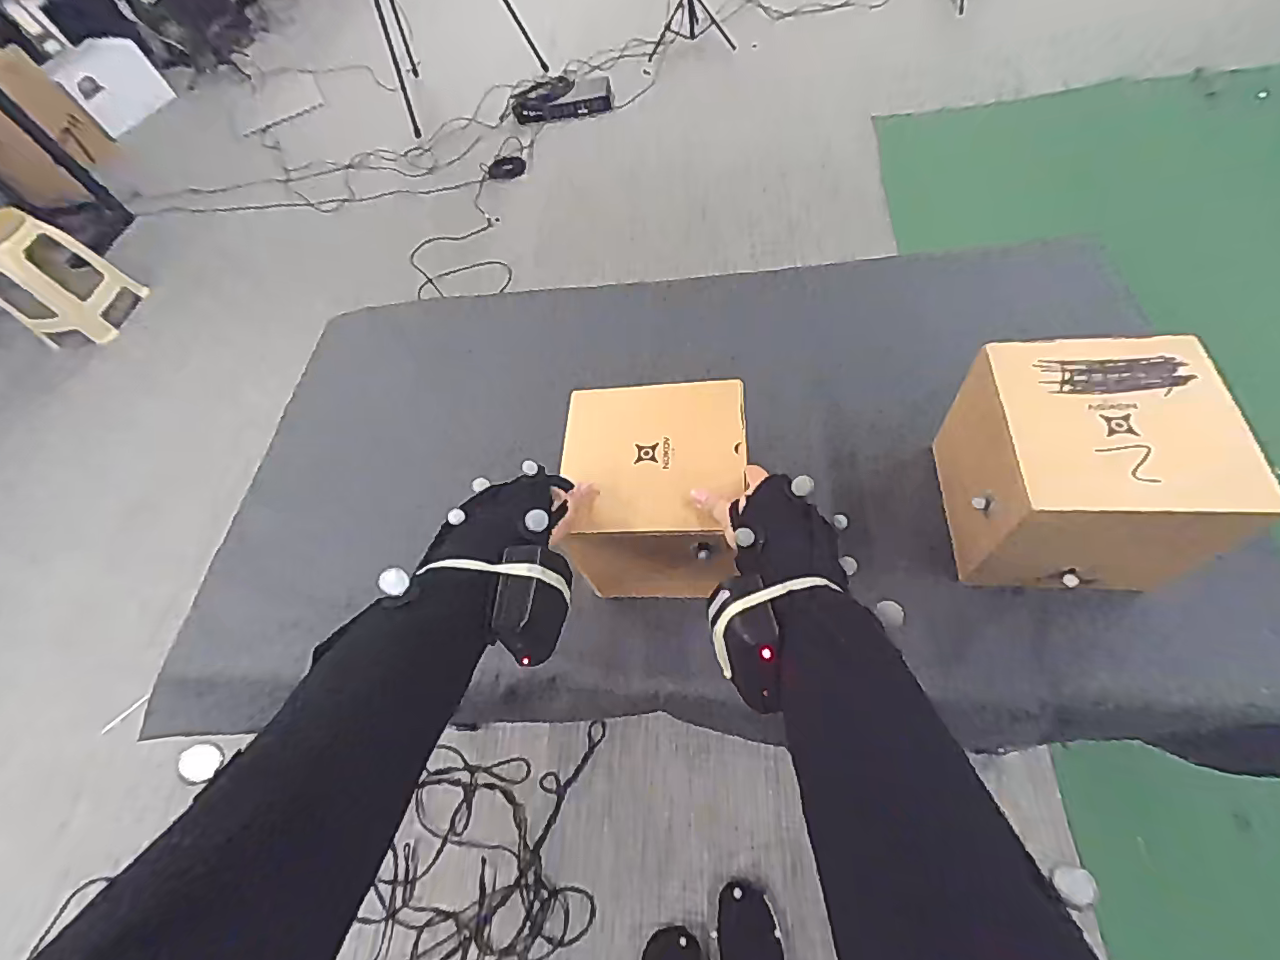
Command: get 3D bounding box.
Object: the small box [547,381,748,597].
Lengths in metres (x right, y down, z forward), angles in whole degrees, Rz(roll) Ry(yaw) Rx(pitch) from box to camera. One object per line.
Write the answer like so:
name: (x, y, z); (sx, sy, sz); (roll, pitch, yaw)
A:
small box: (0.021, 0.017, 0.567); (0.179, 0.176, 0.168); (-2, 58, 9)
